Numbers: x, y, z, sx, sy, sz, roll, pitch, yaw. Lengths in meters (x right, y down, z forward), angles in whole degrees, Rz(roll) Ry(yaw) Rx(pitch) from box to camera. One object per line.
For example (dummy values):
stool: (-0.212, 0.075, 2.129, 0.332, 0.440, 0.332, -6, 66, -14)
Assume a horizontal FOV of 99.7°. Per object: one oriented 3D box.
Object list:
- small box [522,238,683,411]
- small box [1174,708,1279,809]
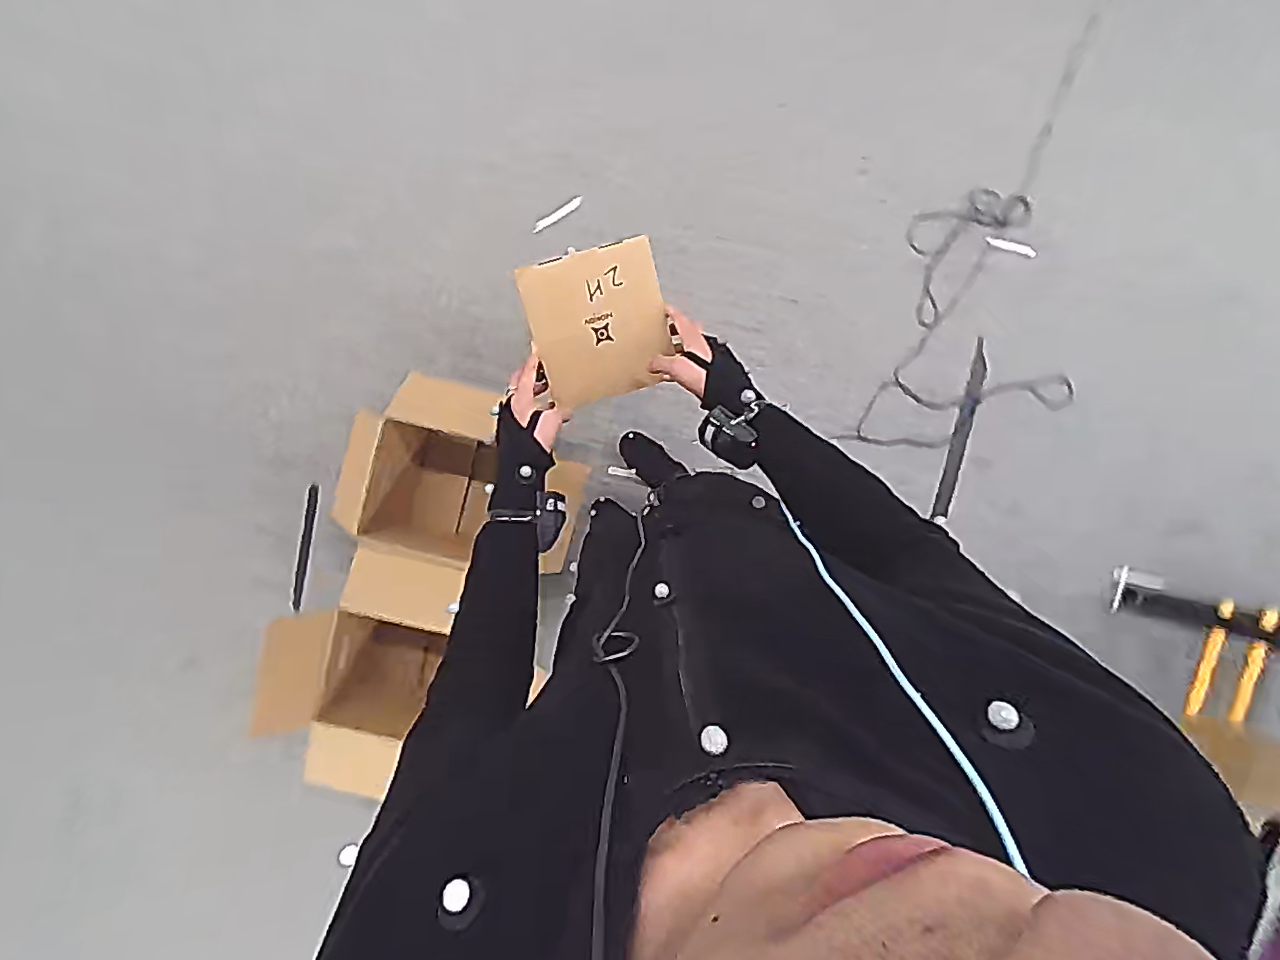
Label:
small box: (-0.054, -0.211, 0.730, 0.168, 0.176, 0.179, -16, 110, -6)
small box: (1.642, 0.763, 1.490, 0.168, 0.176, 0.179, 10, 94, -1)
